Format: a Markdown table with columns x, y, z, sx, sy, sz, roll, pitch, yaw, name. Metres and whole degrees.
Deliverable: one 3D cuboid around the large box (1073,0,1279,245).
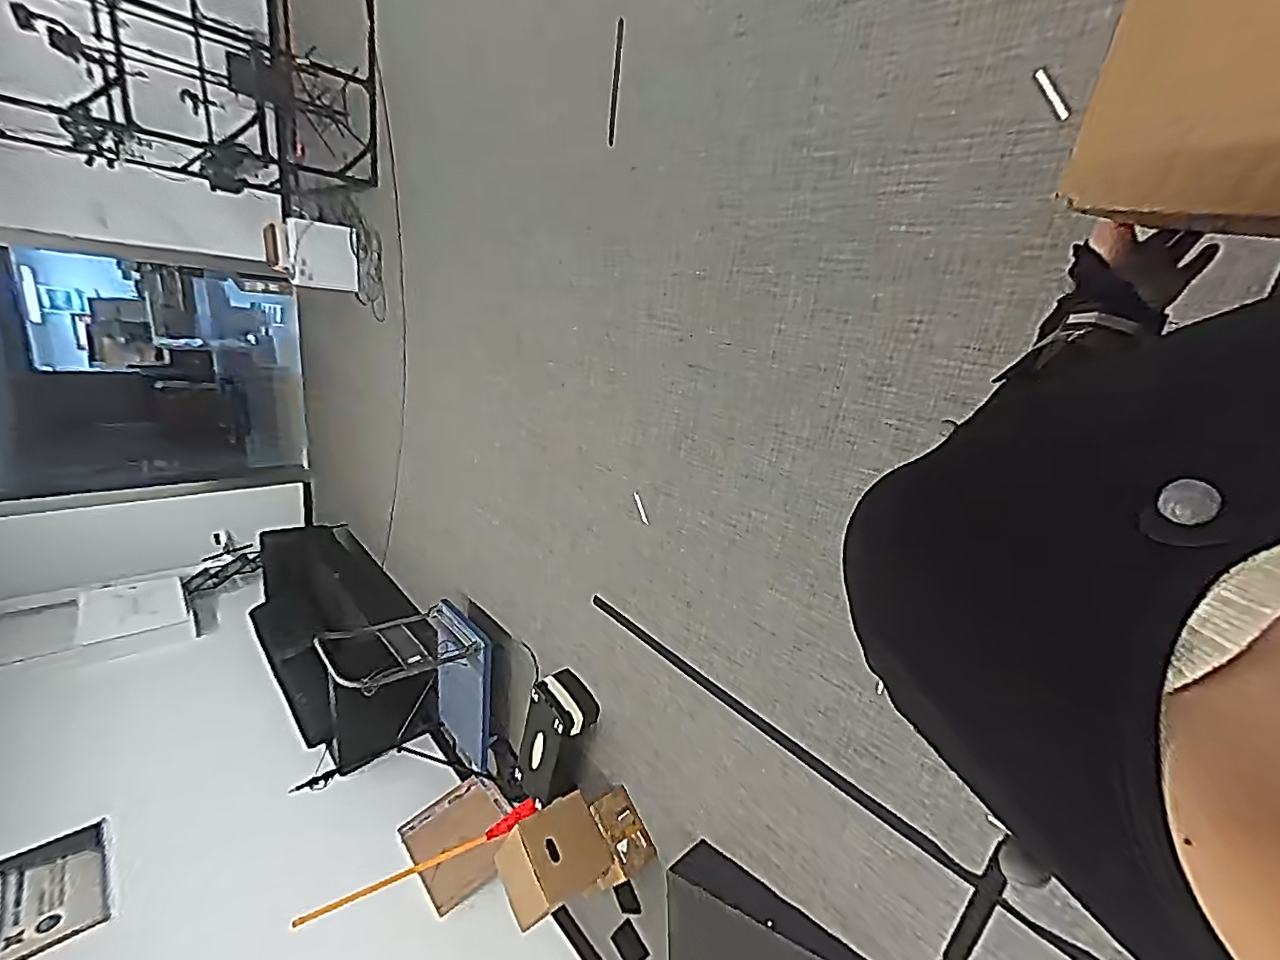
| x | y | z | sx | sy | sz | roll | pitch | yaw | name |
| --- | --- | --- | --- | --- | --- | --- | --- | --- | --- |
| 0.502 | -0.261 | 0.218 | 0.408 | 0.320 | 0.320 | 29 | 126 | 41 | large box |
